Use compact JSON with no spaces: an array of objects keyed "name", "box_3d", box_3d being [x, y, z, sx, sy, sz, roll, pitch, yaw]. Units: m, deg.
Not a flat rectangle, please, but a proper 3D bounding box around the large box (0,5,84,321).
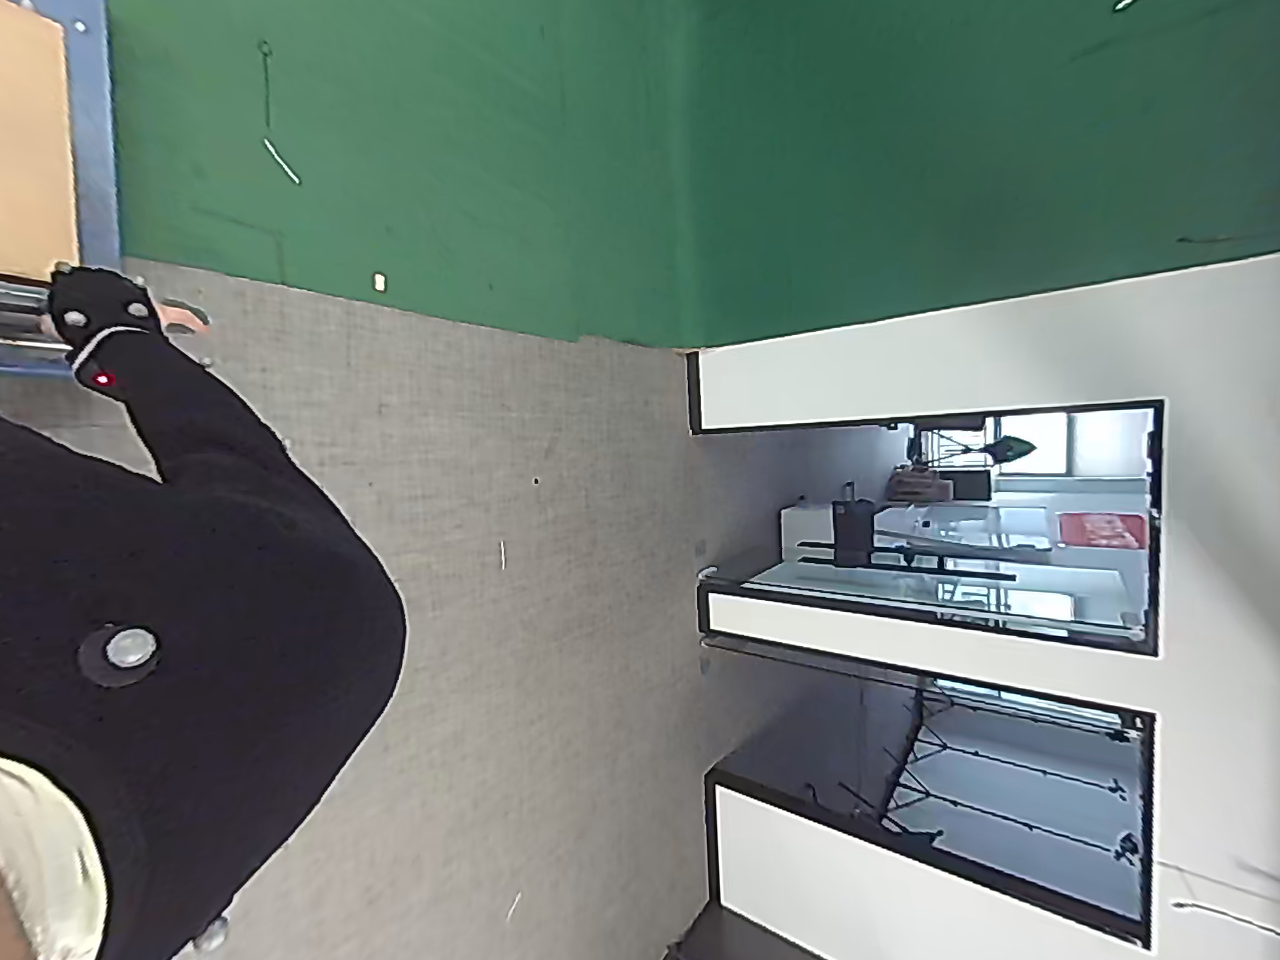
[{"name":"large box","box_3d":[-1.101,-0.488,0.814,0.320,0.320,0.408,-6,93,-54]}]
